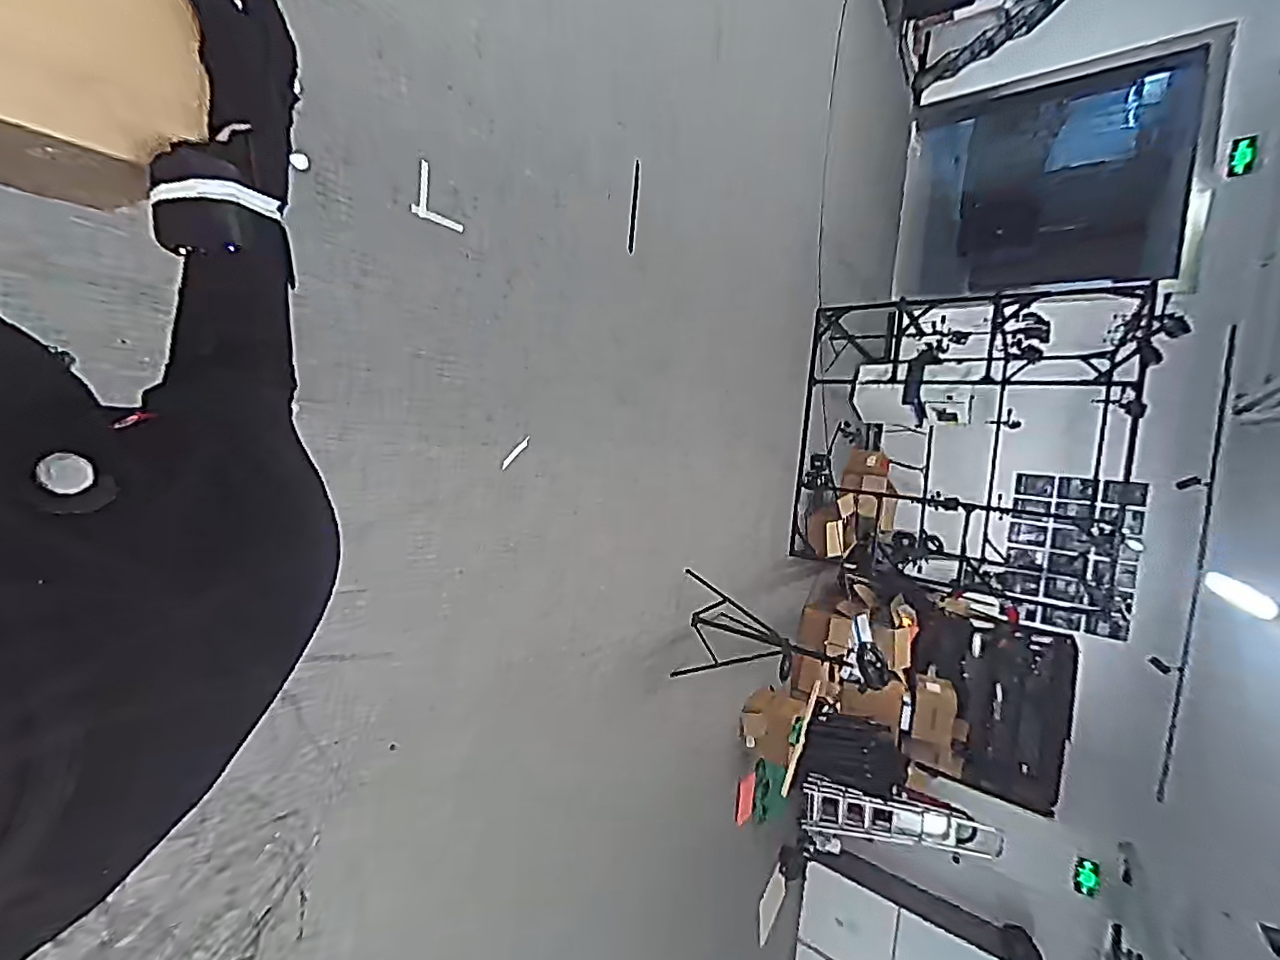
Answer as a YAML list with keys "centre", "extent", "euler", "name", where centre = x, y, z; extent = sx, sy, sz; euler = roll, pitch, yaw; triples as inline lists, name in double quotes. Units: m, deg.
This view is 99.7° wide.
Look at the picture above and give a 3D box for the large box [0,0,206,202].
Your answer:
- centre: [-0.556, -0.405, 0.320]
  extent: [0.408, 0.320, 0.320]
  euler: [-4, 107, -55]
  name: "large box"
